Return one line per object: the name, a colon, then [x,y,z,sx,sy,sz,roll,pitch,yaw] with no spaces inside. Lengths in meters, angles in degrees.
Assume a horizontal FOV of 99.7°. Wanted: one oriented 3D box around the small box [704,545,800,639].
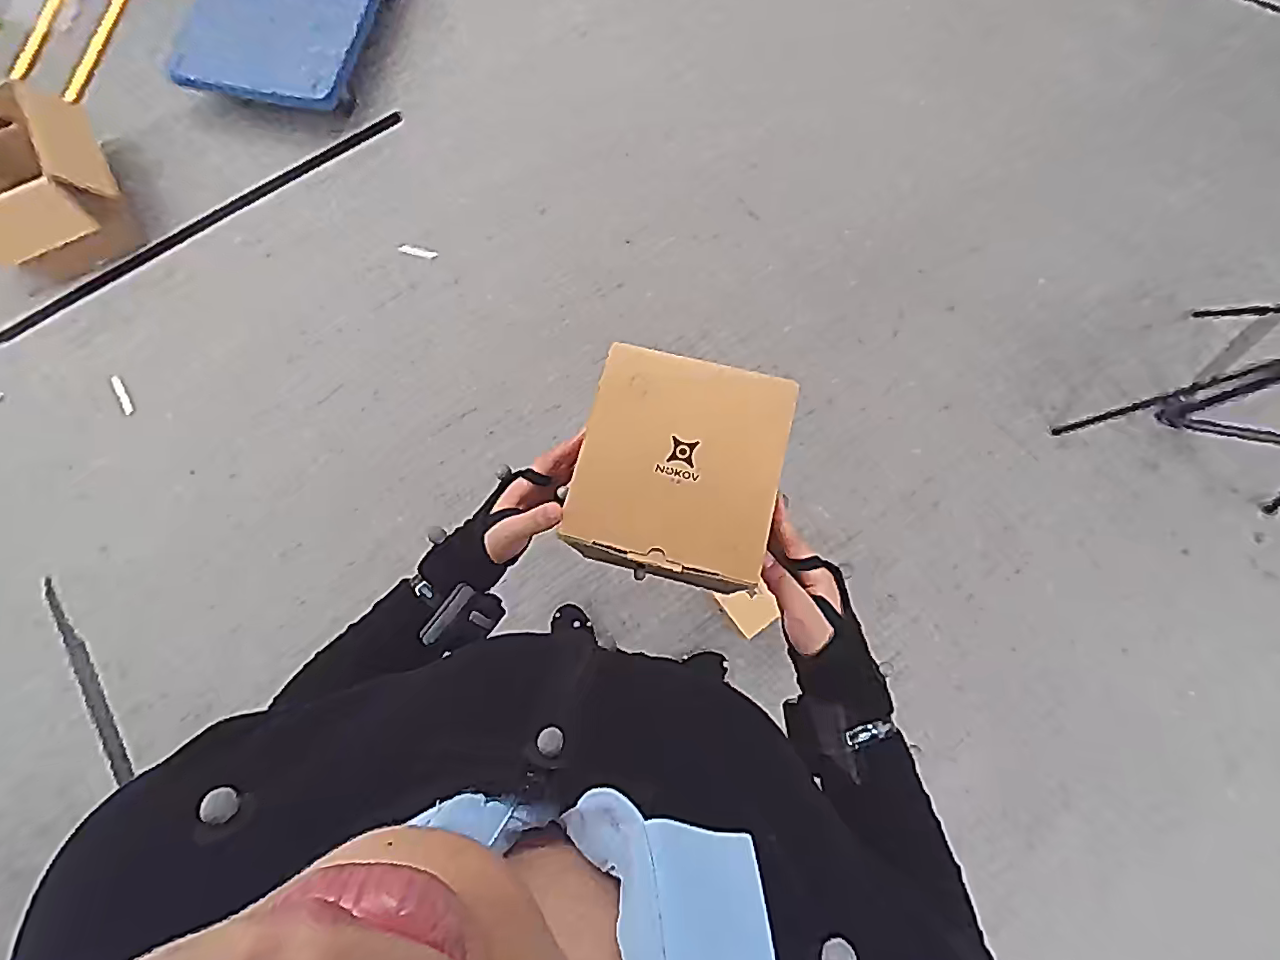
small box: [0.280,0.293,1.403,0.179,0.176,0.168,-36,78,-7]
